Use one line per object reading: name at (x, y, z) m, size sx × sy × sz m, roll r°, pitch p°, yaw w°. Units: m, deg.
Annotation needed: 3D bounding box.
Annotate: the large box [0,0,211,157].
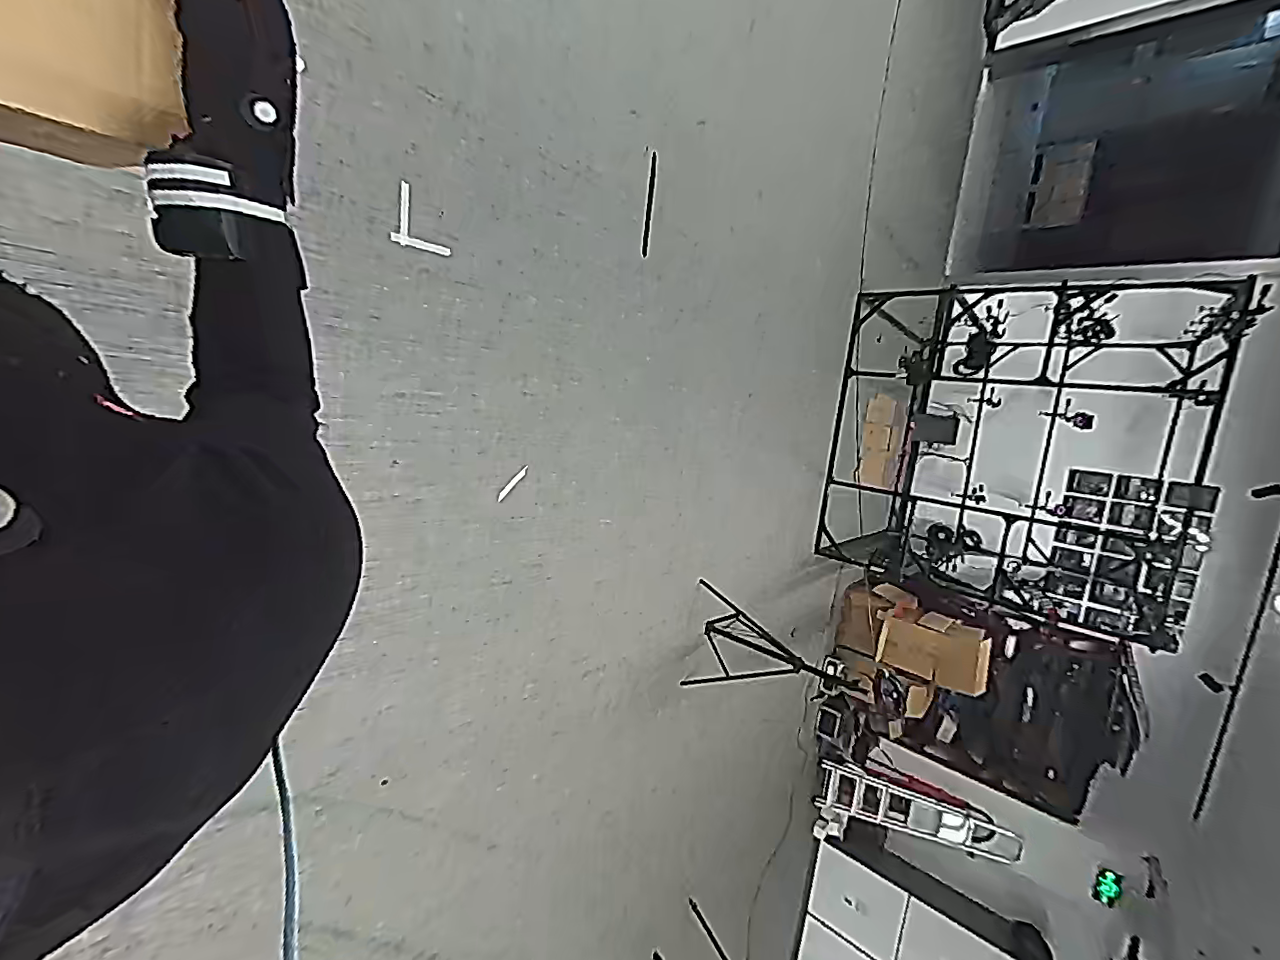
large box at (-0.541, -0.419, 0.299) m, size 0.408 × 0.320 × 0.320 m, roll -10°, pitch 117°, yaw -54°
